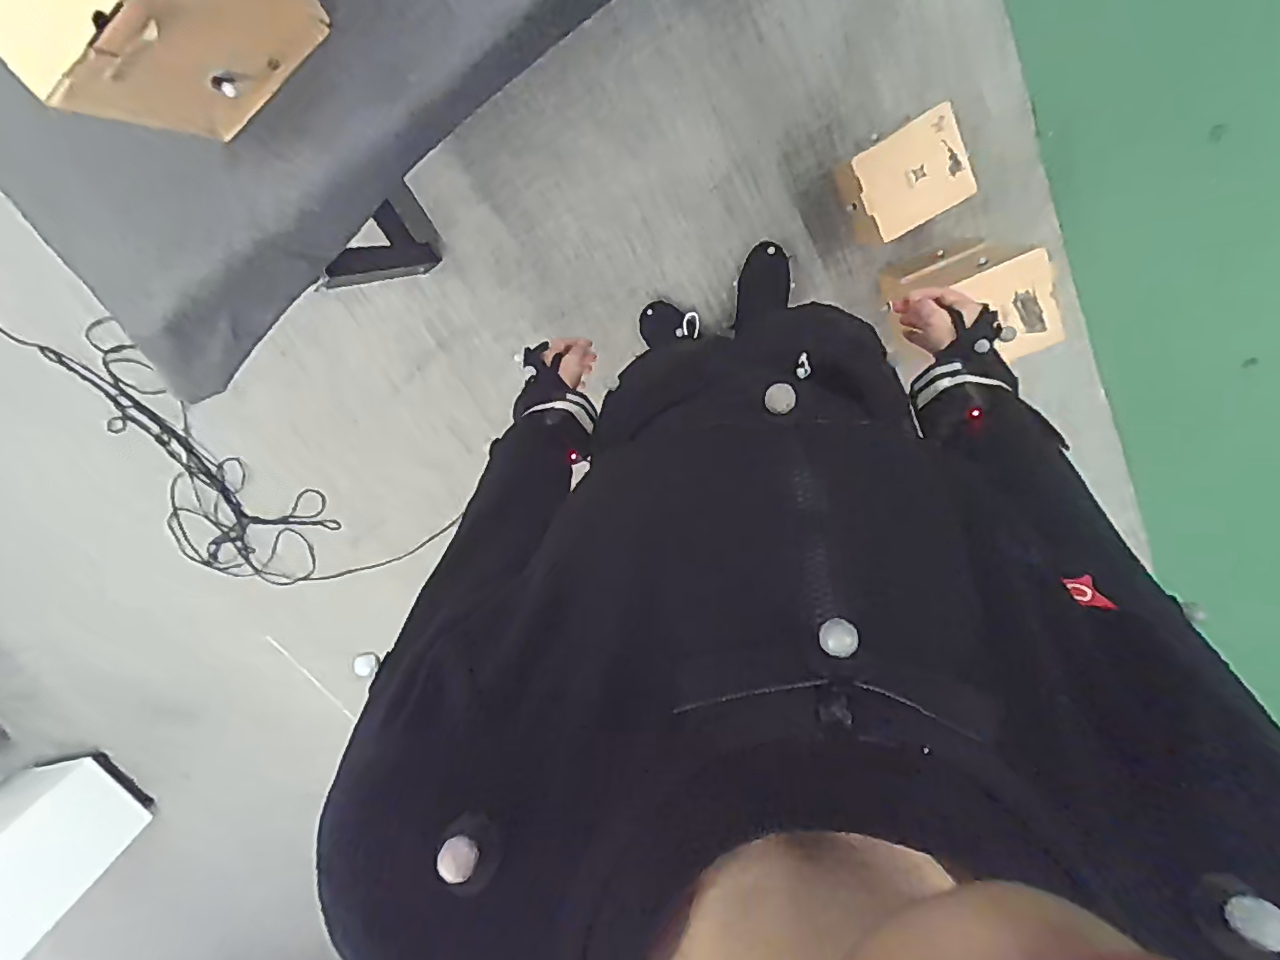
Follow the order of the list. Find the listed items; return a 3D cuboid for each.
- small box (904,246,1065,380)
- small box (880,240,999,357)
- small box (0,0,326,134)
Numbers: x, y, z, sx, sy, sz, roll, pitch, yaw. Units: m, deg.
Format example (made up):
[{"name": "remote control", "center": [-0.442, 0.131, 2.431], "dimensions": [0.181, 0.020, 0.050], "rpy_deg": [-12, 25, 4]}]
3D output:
[{"name": "small box", "center": [0.607, -0.305, 0.969], "dimensions": [0.179, 0.176, 0.168], "rpy_deg": [-22, 109, 17]}, {"name": "small box", "center": [0.624, -0.380, 1.115], "dimensions": [0.179, 0.176, 0.168], "rpy_deg": [-21, 109, 17]}, {"name": "small box", "center": [-0.402, -0.412, 0.420], "dimensions": [0.168, 0.176, 0.179], "rpy_deg": [-30, 108, 18]}]
